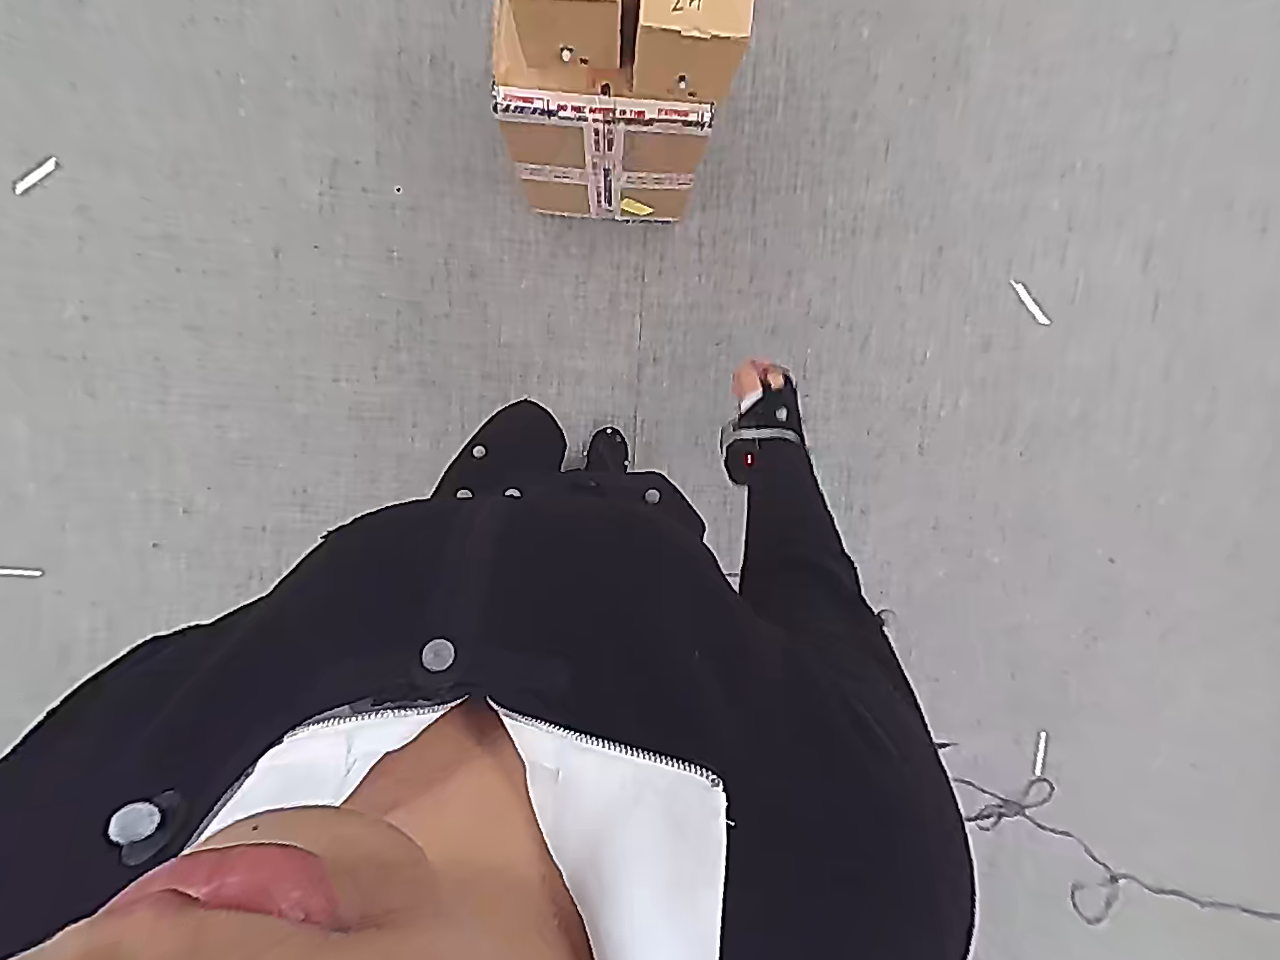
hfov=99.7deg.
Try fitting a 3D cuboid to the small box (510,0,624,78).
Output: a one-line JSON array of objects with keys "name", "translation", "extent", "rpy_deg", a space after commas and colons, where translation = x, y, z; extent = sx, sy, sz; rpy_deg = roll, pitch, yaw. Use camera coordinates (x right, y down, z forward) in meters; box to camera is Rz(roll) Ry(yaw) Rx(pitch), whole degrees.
[{"name": "small box", "translation": [-0.109, -0.777, 0.846], "extent": [0.168, 0.176, 0.179], "rpy_deg": [1, 99, -2]}]

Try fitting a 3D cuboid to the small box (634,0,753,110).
[{"name": "small box", "translation": [0.080, -0.738, 0.862], "extent": [0.168, 0.176, 0.179], "rpy_deg": [3, 97, -5]}]
